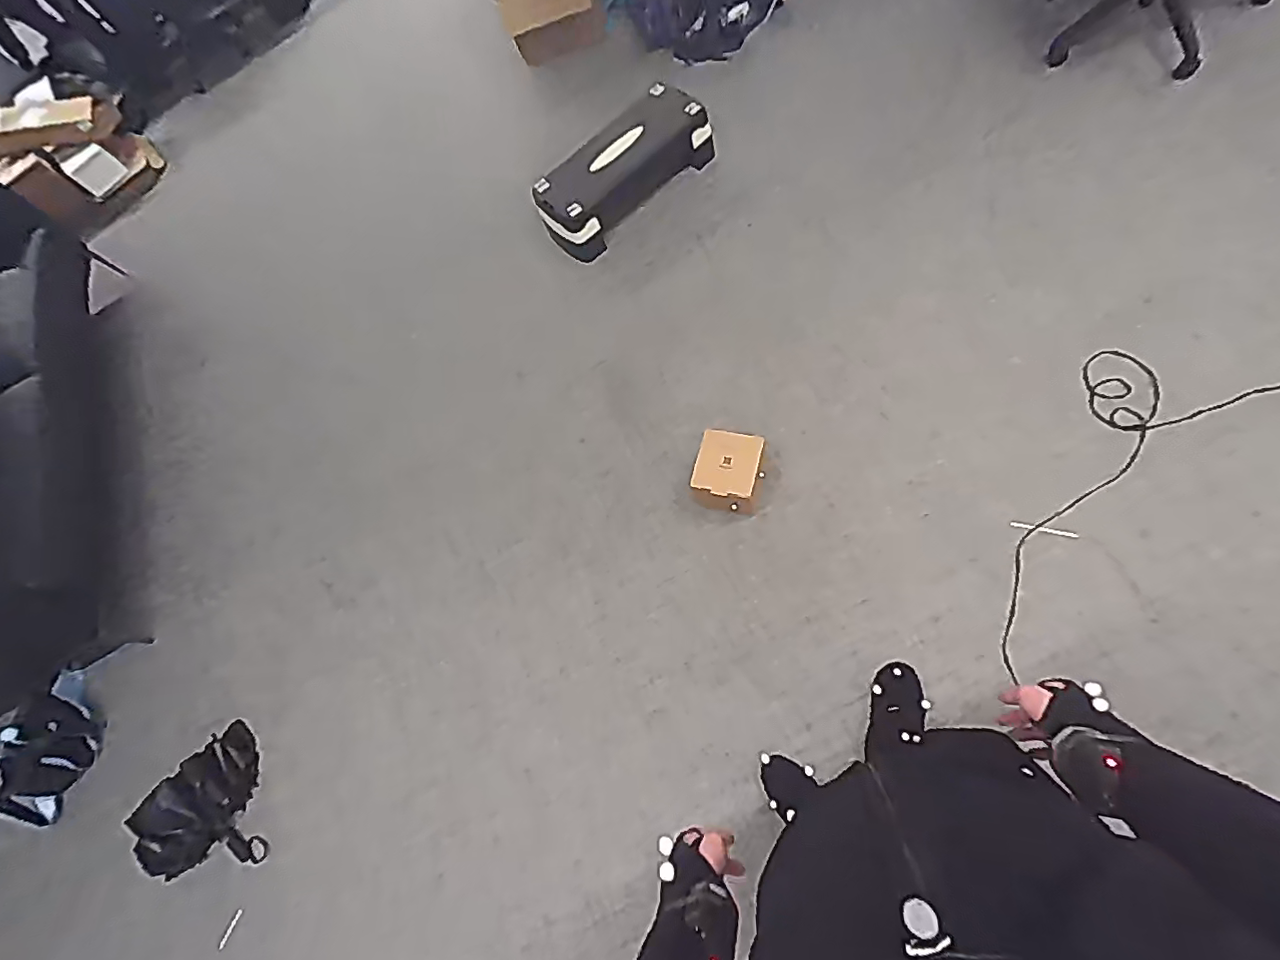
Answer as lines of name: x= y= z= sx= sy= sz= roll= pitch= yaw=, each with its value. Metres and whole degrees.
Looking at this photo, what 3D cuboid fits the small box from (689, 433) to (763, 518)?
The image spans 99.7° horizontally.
small box: x=0.248 y=-0.008 z=1.519 sx=0.168 sy=0.176 sz=0.179 roll=11 pitch=71 yaw=18
